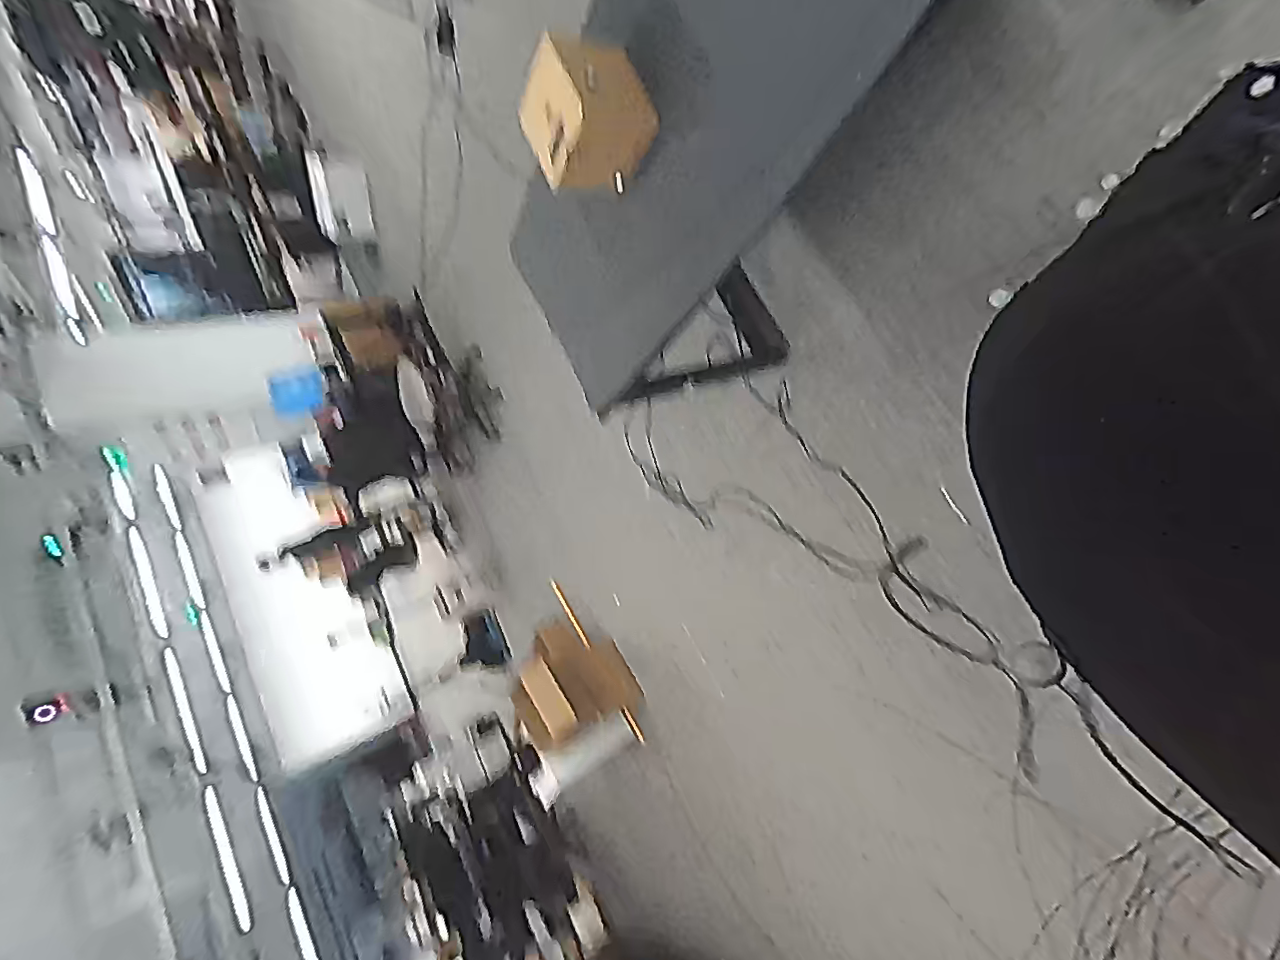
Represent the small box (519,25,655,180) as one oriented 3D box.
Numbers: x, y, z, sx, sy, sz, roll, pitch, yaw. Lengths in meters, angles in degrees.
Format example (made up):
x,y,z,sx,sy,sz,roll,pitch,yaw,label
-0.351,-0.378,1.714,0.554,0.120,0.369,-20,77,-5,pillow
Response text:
x,y,z,sx,sy,sz,roll,pitch,yaw,label
-0.099,-0.699,1.019,0.168,0.176,0.179,-37,76,54,small box
